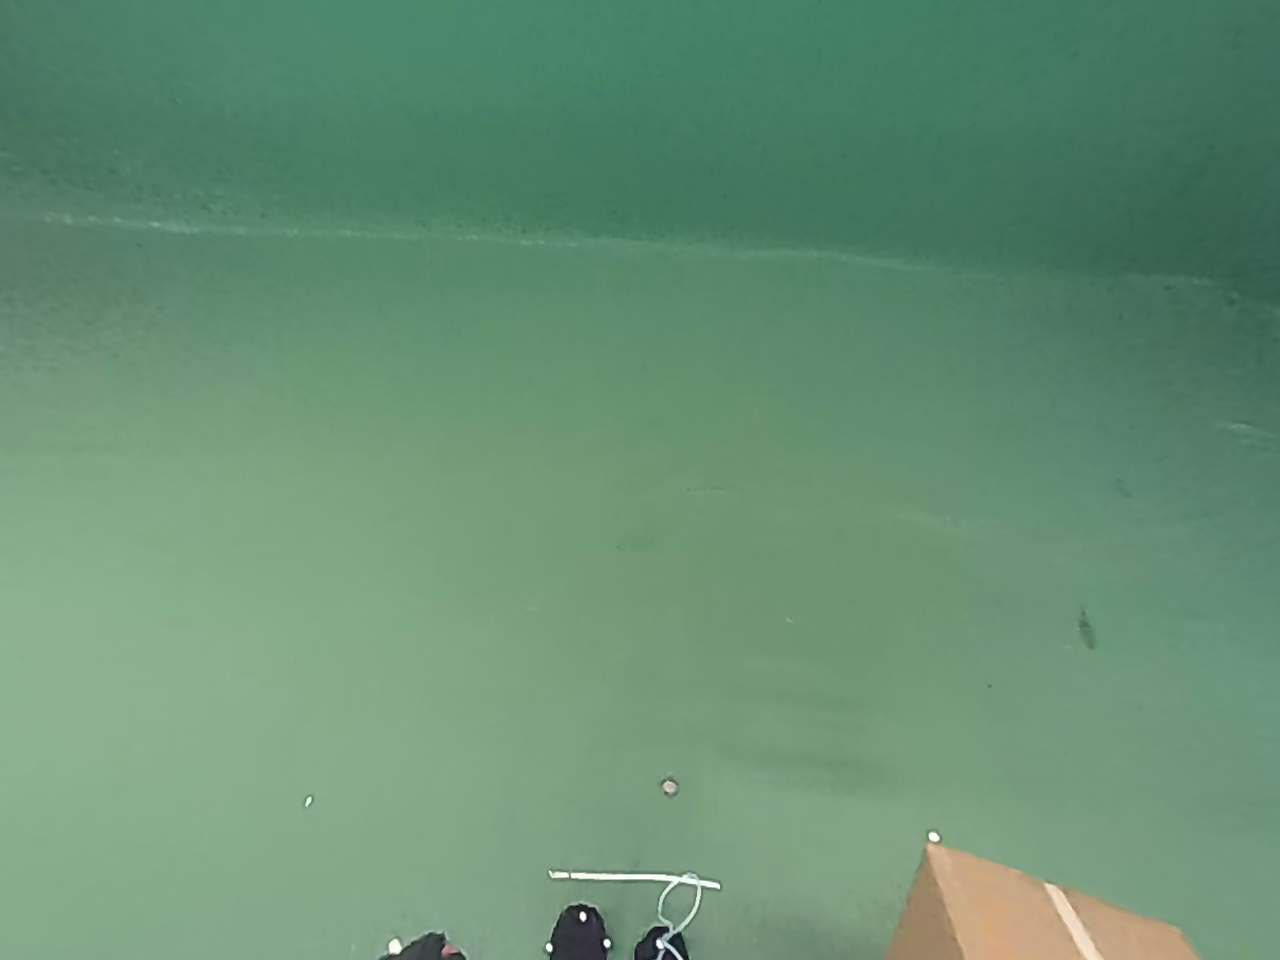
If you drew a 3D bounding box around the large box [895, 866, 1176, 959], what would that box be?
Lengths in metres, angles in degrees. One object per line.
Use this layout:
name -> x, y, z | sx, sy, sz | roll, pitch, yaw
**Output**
large box -> 0.467, 0.743, 0.562 | 0.320, 0.408, 0.320 | 15, 100, 12
